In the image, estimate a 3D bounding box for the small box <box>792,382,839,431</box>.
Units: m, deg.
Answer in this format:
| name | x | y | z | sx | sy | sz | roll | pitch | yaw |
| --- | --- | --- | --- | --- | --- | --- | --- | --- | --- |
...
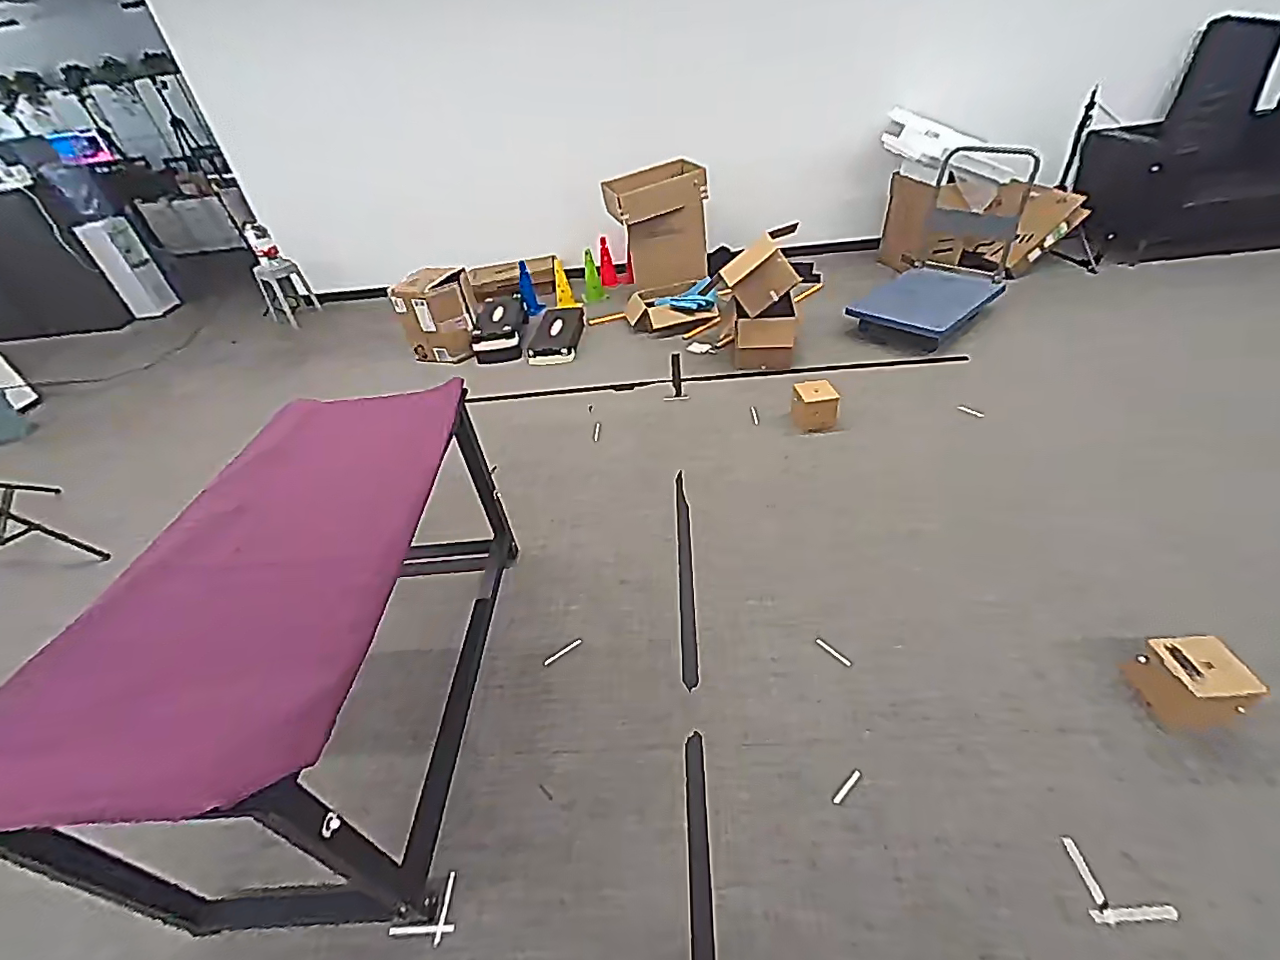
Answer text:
| name | x | y | z | sx | sy | sz | roll | pitch | yaw |
| --- | --- | --- | --- | --- | --- | --- | --- | --- | --- |
| small box | 0.842 | -0.349 | 2.609 | 0.168 | 0.176 | 0.179 | -9 | 38 | -1 |
